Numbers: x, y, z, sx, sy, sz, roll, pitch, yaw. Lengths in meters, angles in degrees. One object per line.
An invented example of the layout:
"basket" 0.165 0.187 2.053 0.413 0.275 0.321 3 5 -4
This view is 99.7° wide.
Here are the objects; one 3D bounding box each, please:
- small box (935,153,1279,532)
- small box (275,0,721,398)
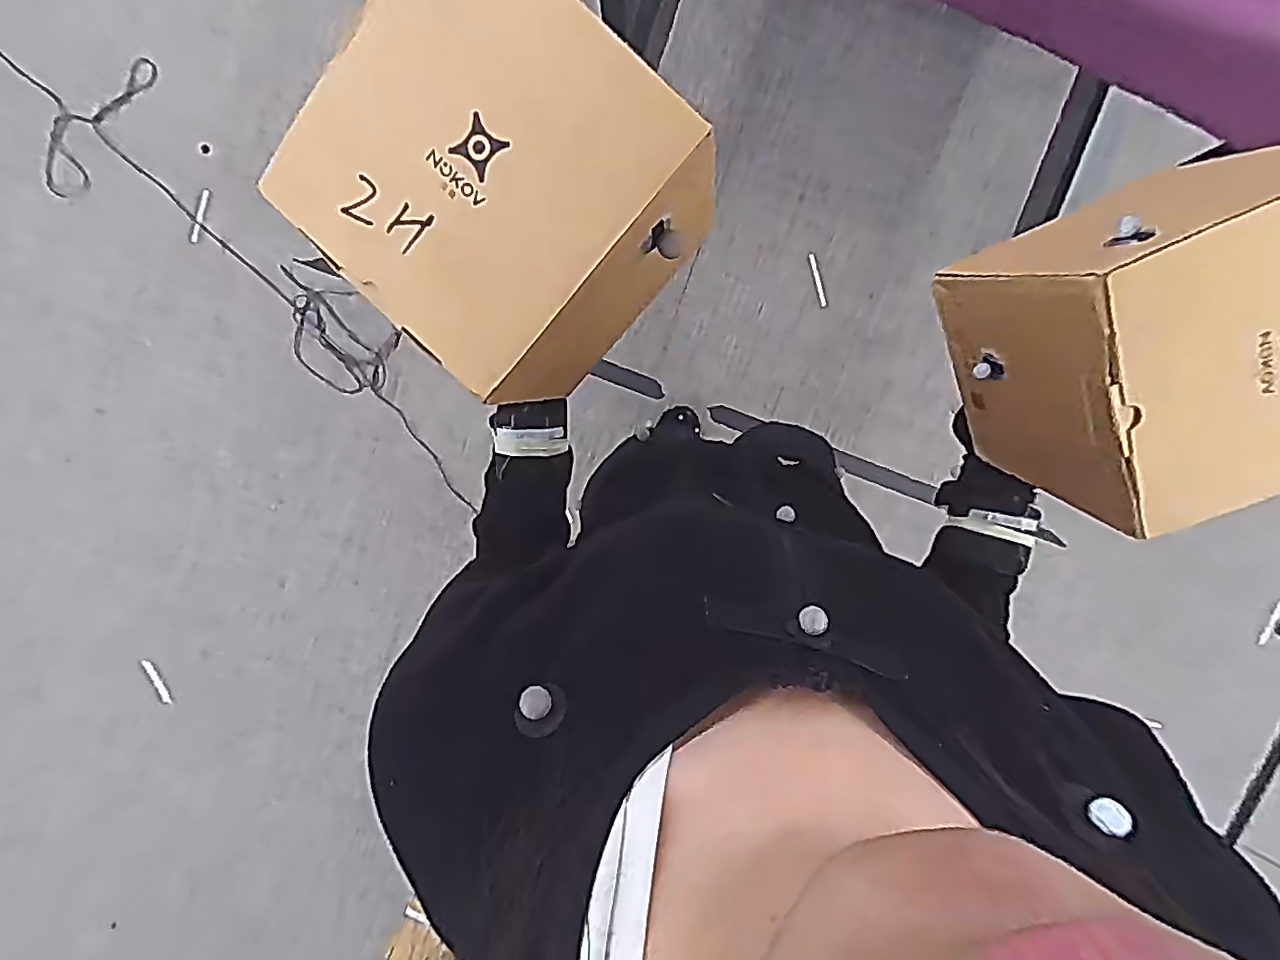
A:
"small box" 0.340 -0.099 0.362 0.179 0.176 0.168 -24 109 9
"small box" -0.068 -0.173 0.346 0.168 0.176 0.179 43 103 -1
